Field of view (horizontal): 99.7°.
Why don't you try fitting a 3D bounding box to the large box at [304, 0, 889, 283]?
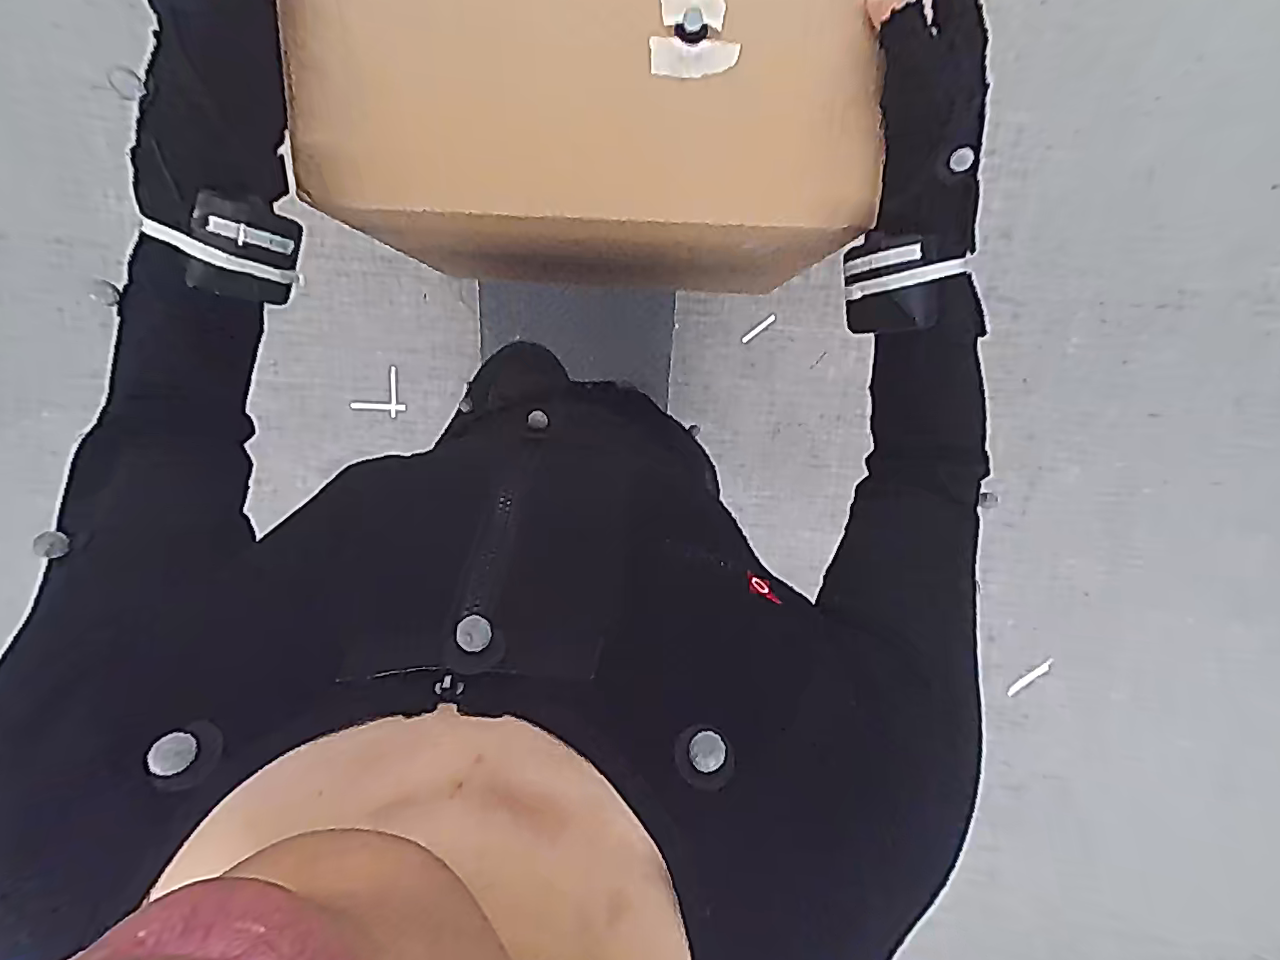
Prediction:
[{"bbox_3d":[-0.031,-0.375,0.508,0.408,0.320,0.320,2,101,-2],"label":"large box"}]
